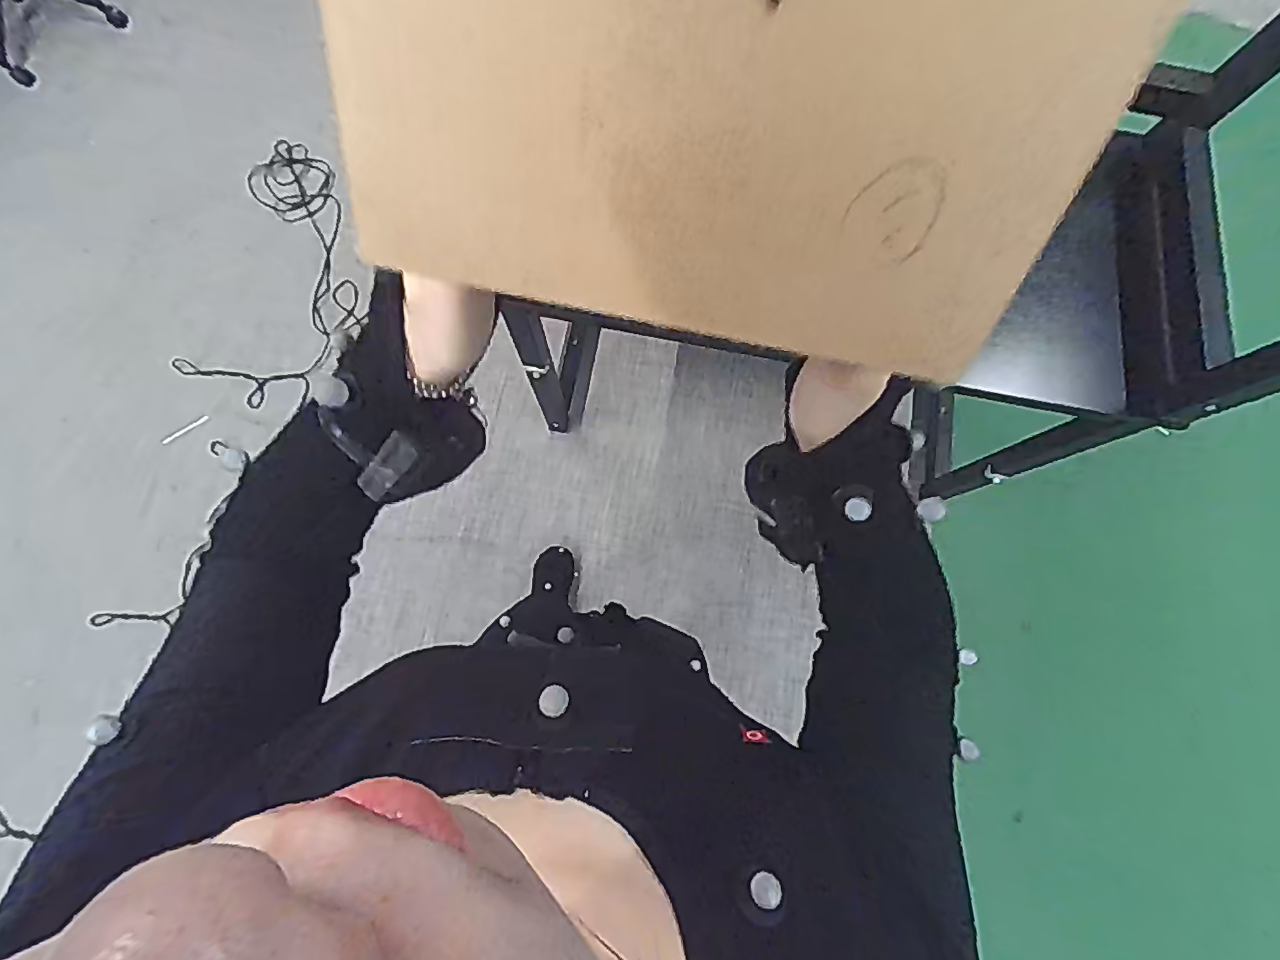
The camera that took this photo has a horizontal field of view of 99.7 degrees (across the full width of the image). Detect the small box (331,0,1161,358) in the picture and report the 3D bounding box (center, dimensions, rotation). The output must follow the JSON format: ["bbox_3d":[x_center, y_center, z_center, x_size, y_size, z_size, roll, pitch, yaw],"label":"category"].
[{"bbox_3d":[0.030,-0.164,0.159,0.168,0.179,0.176,12,37,-1],"label":"small box"}]
